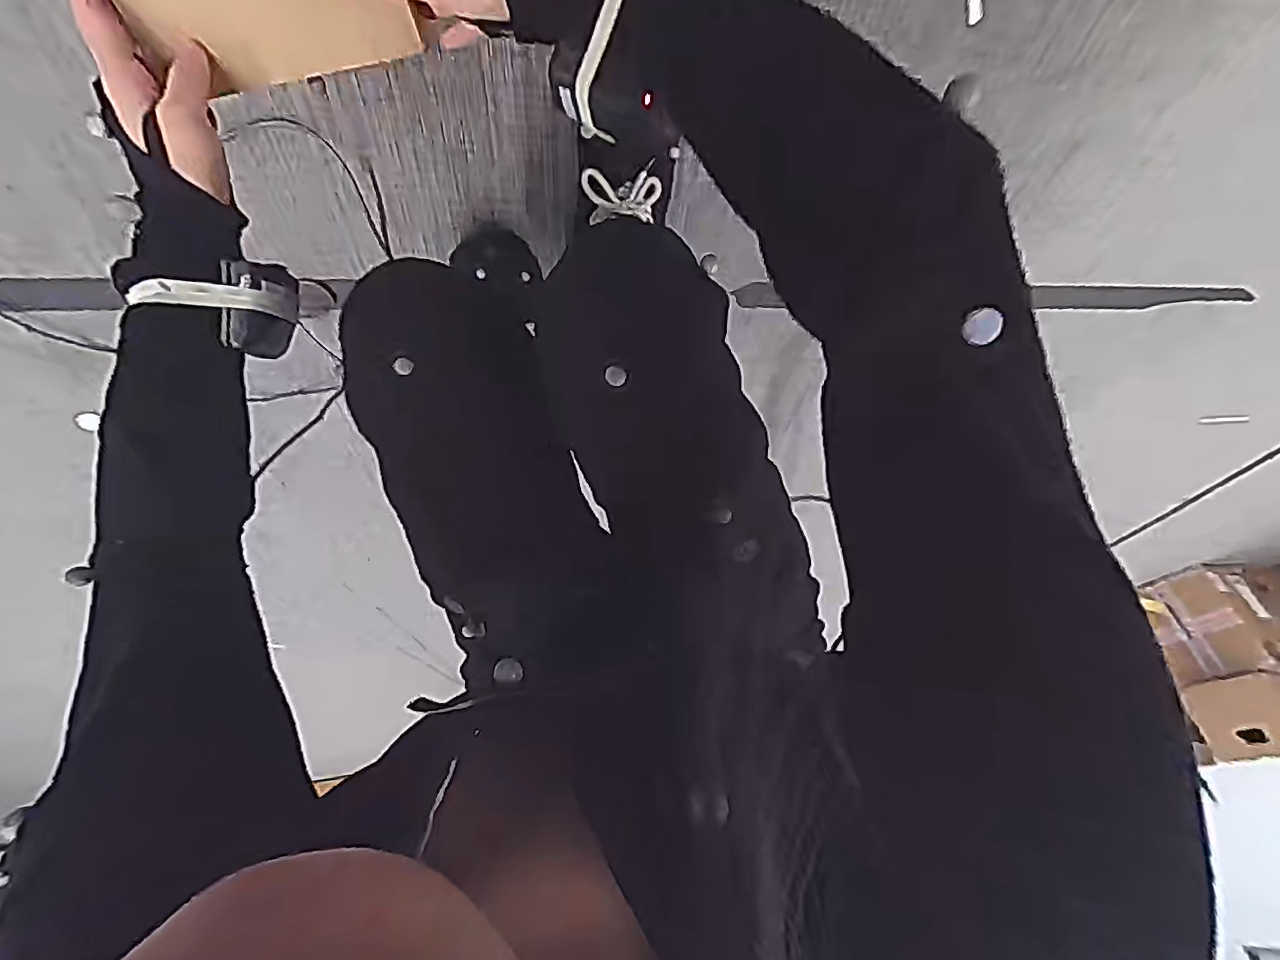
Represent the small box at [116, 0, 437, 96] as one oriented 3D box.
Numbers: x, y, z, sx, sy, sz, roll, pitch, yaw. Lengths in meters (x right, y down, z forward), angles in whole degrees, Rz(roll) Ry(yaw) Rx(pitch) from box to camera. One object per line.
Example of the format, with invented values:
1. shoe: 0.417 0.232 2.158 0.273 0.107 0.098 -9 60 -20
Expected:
1. small box: -0.253 -0.388 0.362 0.179 0.176 0.168 -13 138 0
